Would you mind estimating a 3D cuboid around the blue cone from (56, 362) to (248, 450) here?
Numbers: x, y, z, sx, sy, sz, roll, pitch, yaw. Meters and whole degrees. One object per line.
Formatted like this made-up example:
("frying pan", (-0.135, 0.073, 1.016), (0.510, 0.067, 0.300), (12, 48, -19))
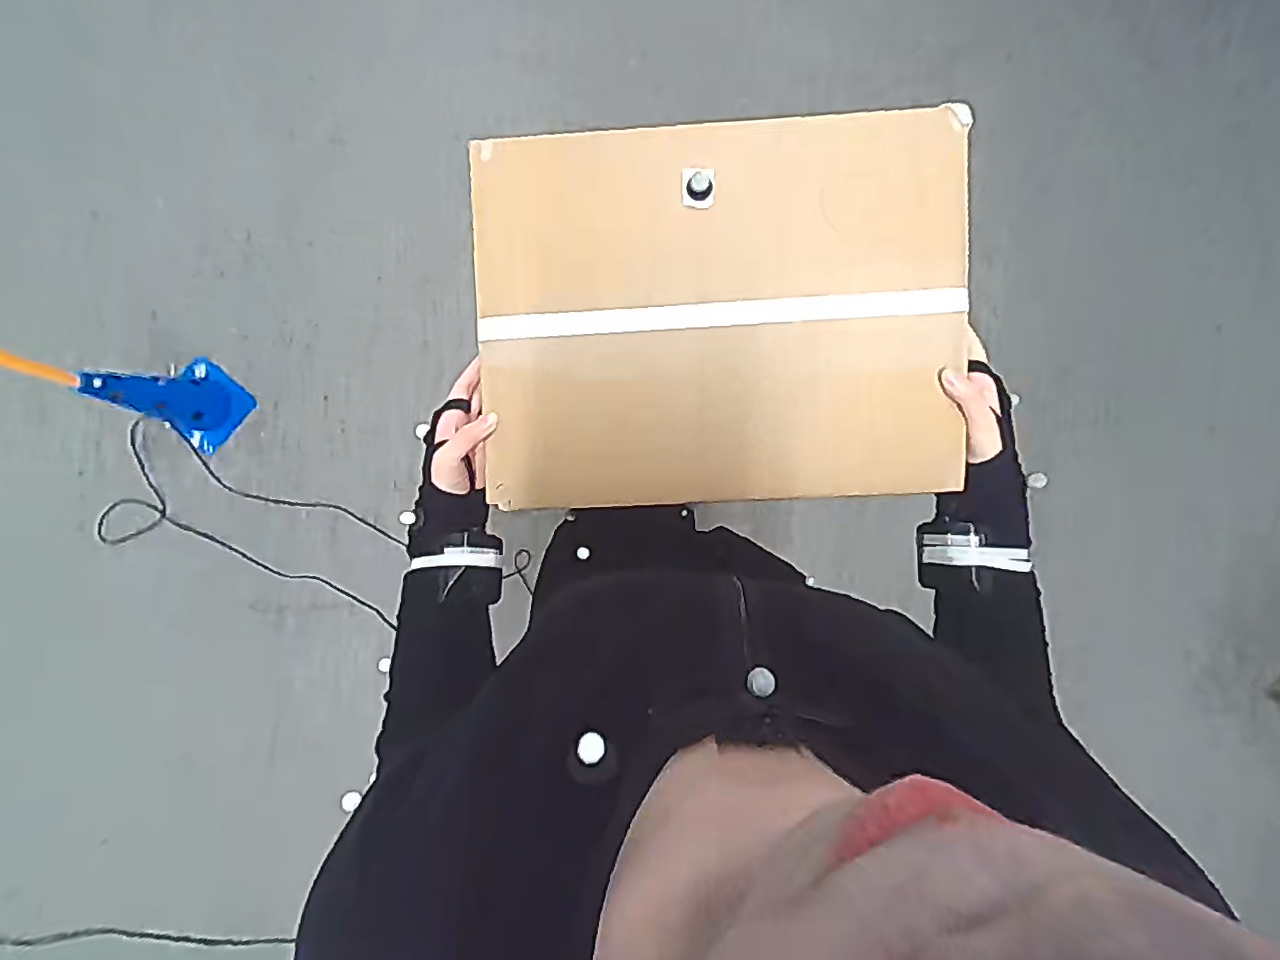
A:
("blue cone", (-1.132, -0.195, 1.235), (0.193, 0.380, 0.192), (38, 87, -2))
